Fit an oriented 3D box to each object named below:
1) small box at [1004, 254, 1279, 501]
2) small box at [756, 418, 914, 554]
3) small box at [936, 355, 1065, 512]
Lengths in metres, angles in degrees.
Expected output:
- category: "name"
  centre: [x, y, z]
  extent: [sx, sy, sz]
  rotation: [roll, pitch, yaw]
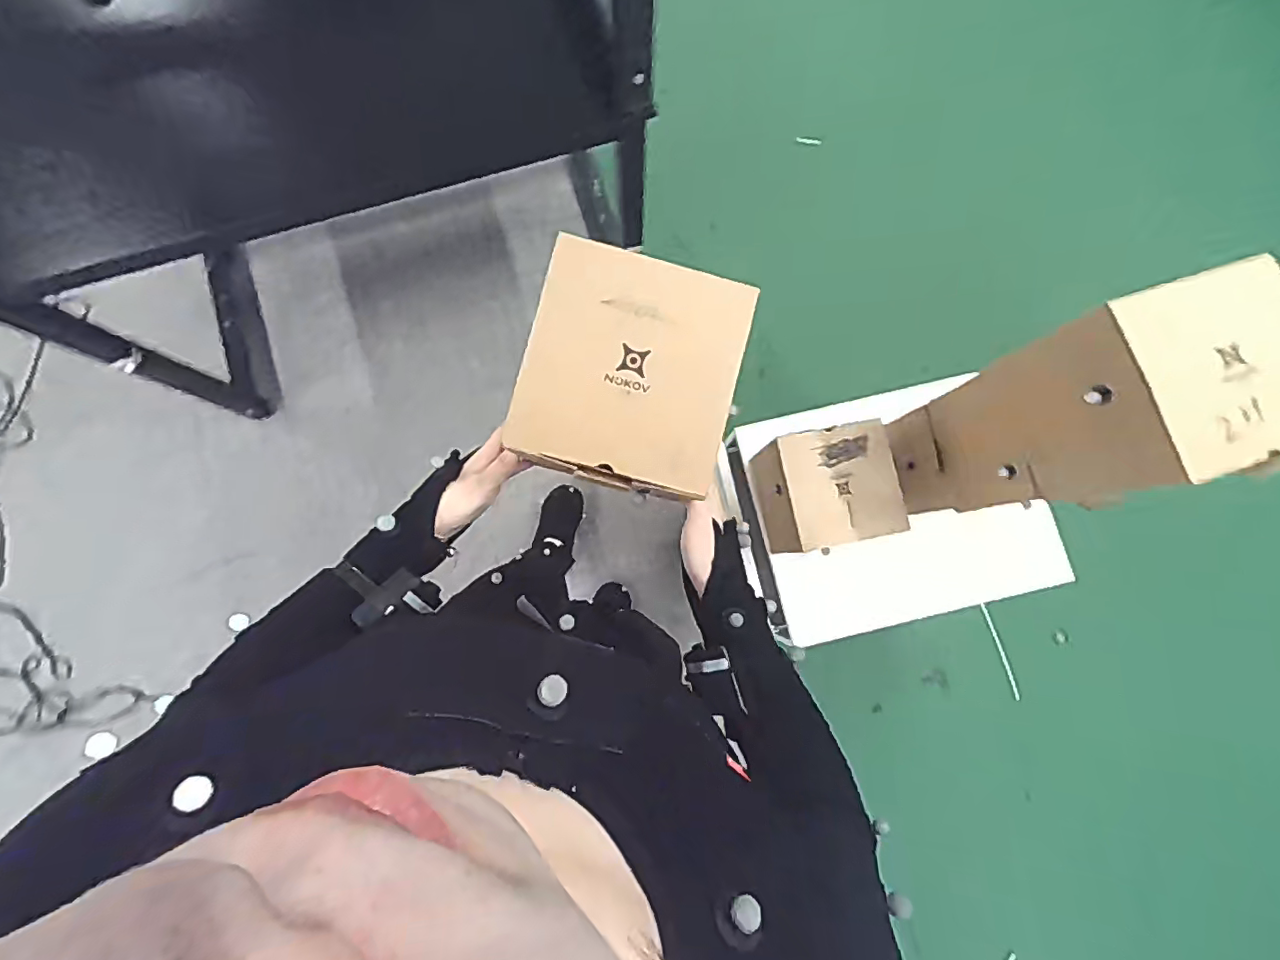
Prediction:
- category: "small box"
  centre: [0.518, -0.088, 0.547]
  extent: [0.168, 0.176, 0.179]
  rotation: [-17, 83, -2]
- category: "small box"
  centre: [0.293, 0.018, 0.856]
  extent: [0.168, 0.176, 0.179]
  rotation: [-10, 82, -3]
- category: "small box"
  centre: [0.523, -0.061, 0.709]
  extent: [0.168, 0.176, 0.179]
  rotation: [-10, 83, -2]
